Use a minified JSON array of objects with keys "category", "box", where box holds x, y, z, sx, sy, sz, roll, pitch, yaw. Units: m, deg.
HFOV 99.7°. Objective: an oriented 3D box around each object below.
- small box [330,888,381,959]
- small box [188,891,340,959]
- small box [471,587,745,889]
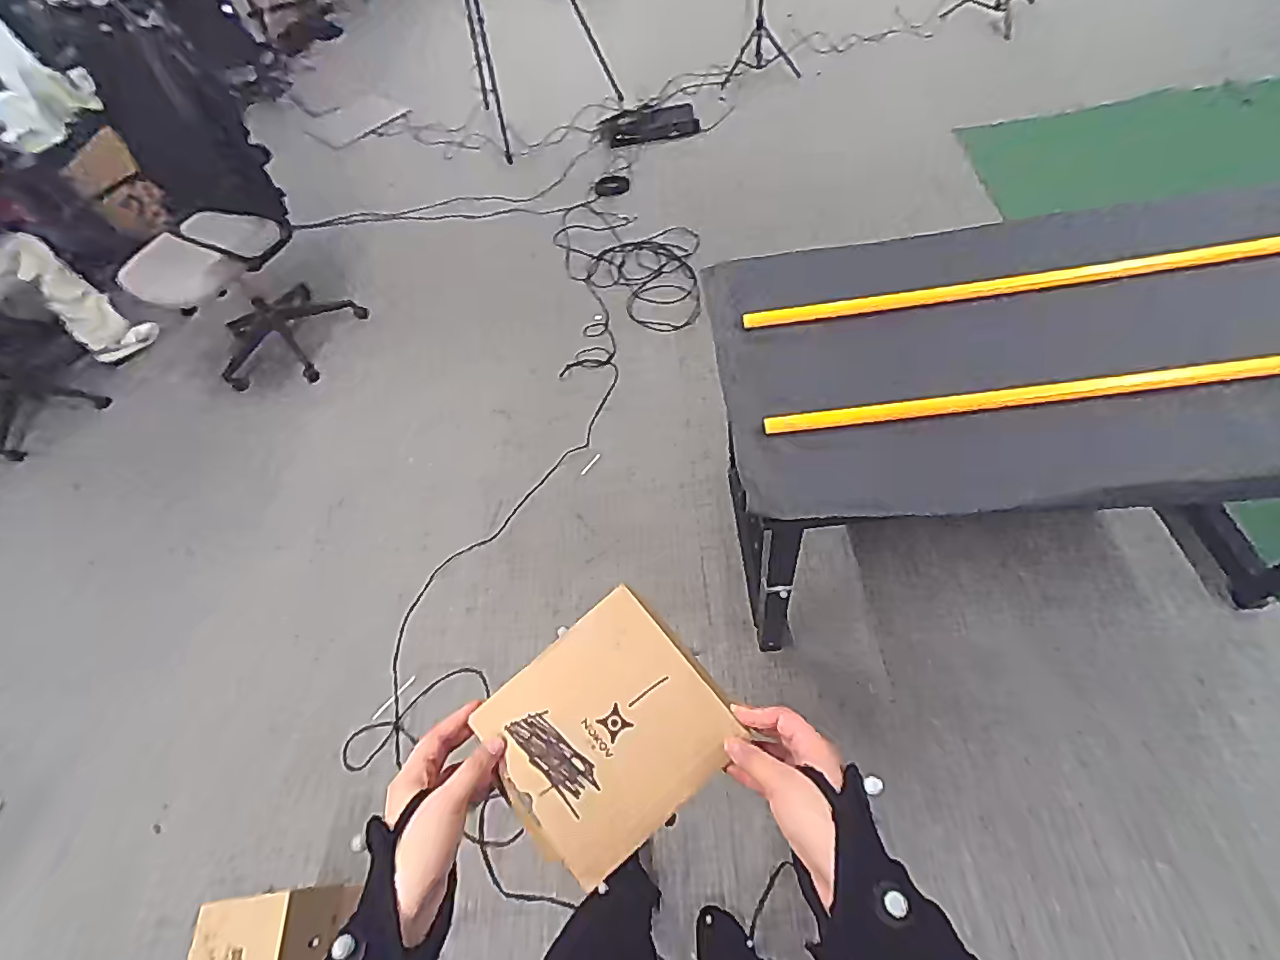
[{"category":"small box","box":[-0.676,0.974,1.135,0.179,0.176,0.168,-10,57,4]},{"category":"small box","box":[-0.693,0.880,1.000,0.179,0.176,0.168,-11,56,4]},{"category":"small box","box":[-0.022,0.226,0.522,0.179,0.176,0.168,-40,76,-7]}]
